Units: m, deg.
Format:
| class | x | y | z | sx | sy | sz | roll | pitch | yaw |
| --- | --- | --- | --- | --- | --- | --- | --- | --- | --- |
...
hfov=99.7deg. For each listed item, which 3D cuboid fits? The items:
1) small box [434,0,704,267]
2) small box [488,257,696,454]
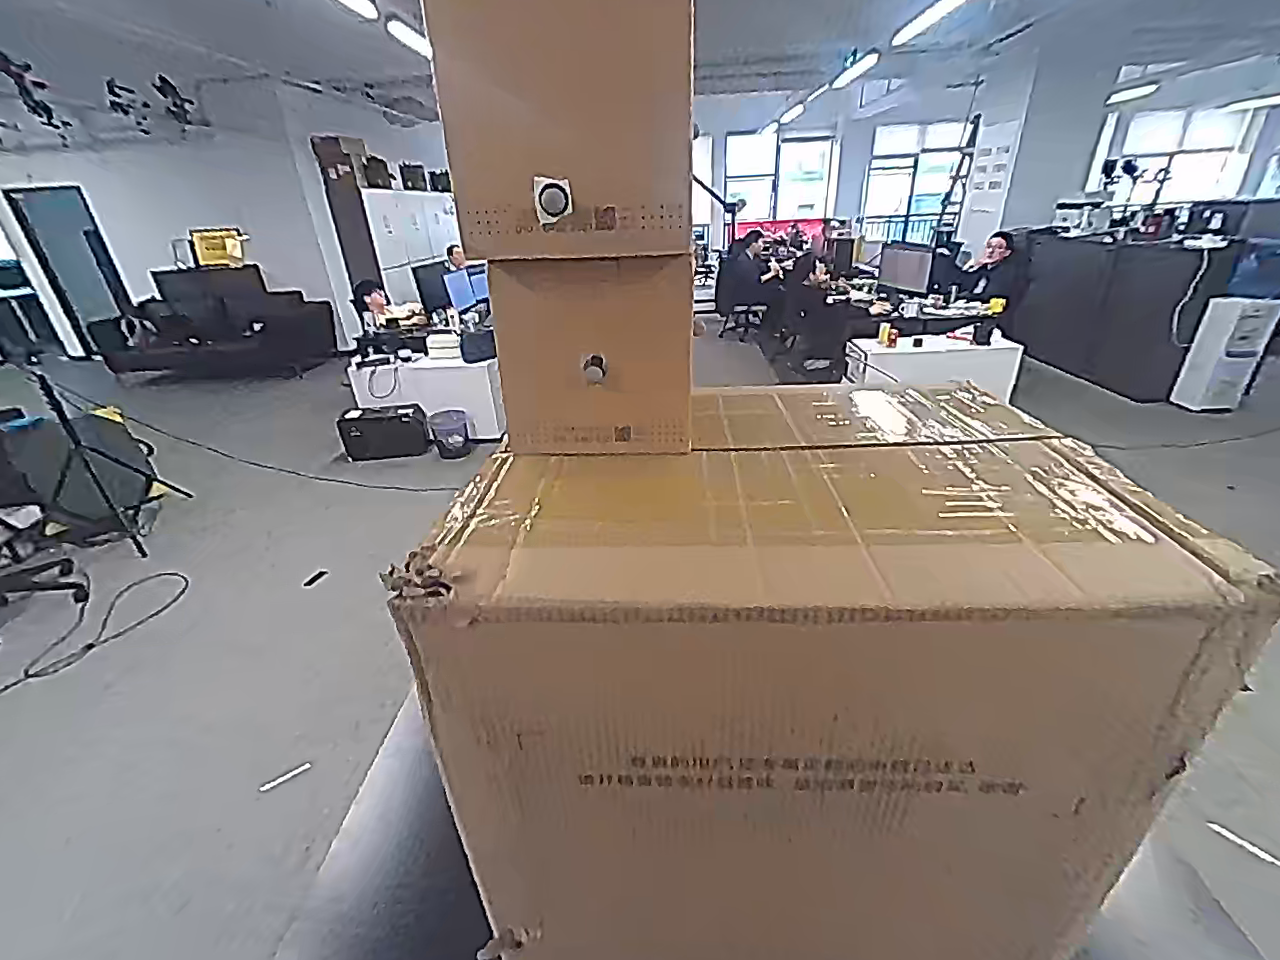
| class | x | y | z | sx | sy | sz | roll | pitch | yaw |
| --- | --- | --- | --- | --- | --- | --- | --- | --- | --- |
| small box | -0.041 | -0.263 | 0.422 | 0.168 | 0.176 | 0.179 | -3 | 27 | 1 |
| small box | -0.031 | -0.131 | 0.524 | 0.168 | 0.176 | 0.179 | 0 | 27 | 3 |
